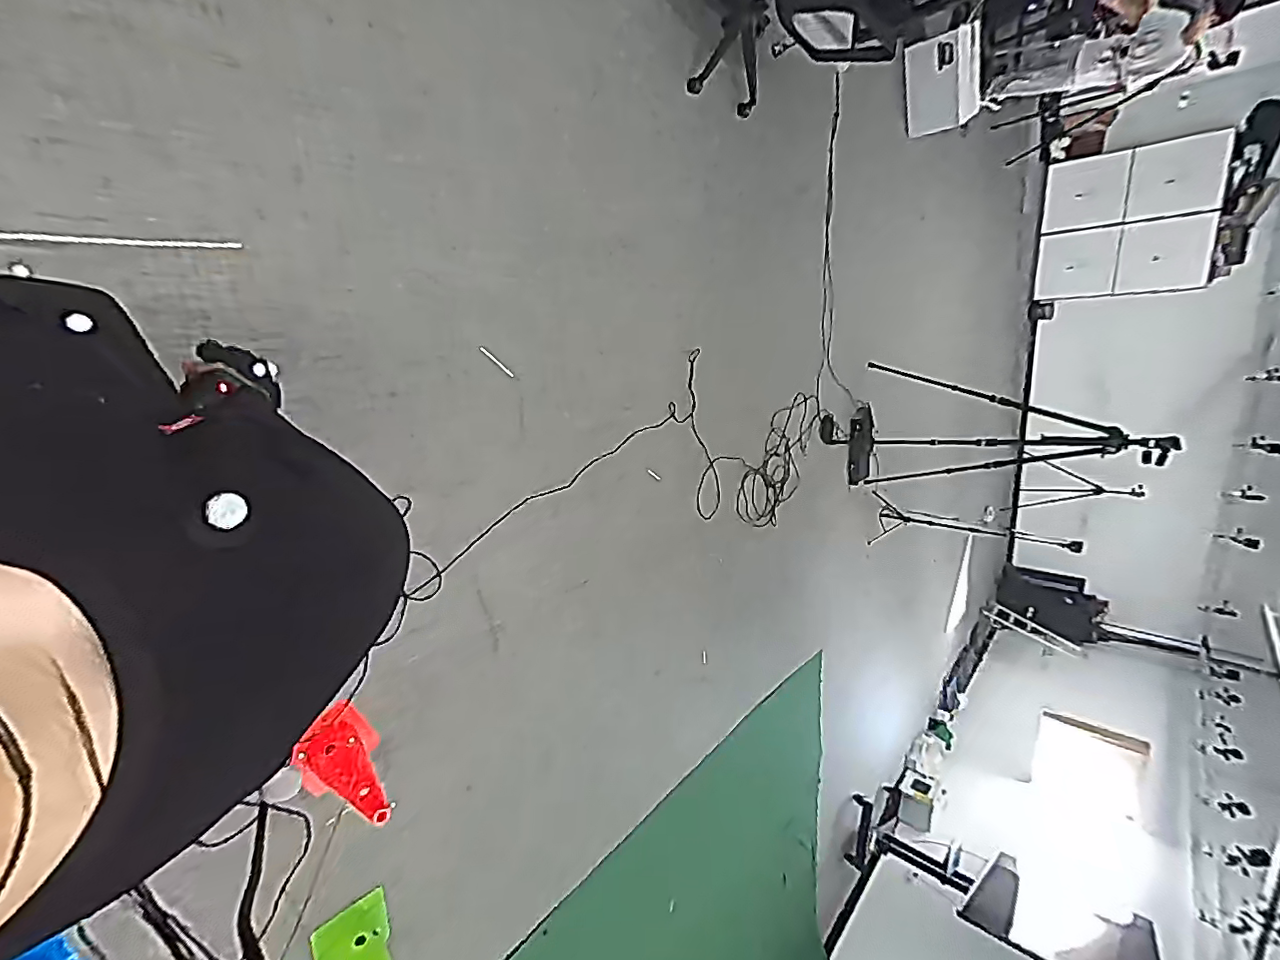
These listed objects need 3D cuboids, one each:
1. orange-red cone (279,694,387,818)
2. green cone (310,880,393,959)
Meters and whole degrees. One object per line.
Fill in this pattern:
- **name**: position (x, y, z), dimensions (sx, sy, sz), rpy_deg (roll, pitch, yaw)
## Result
- **orange-red cone**: position (-0.735, 0.744, 1.383), dimensions (0.198, 0.360, 0.199), rpy_deg (-39, 126, -34)
- **green cone**: position (-0.737, 1.355, 1.500), dimensions (0.200, 0.368, 0.202), rpy_deg (-16, 108, -45)
